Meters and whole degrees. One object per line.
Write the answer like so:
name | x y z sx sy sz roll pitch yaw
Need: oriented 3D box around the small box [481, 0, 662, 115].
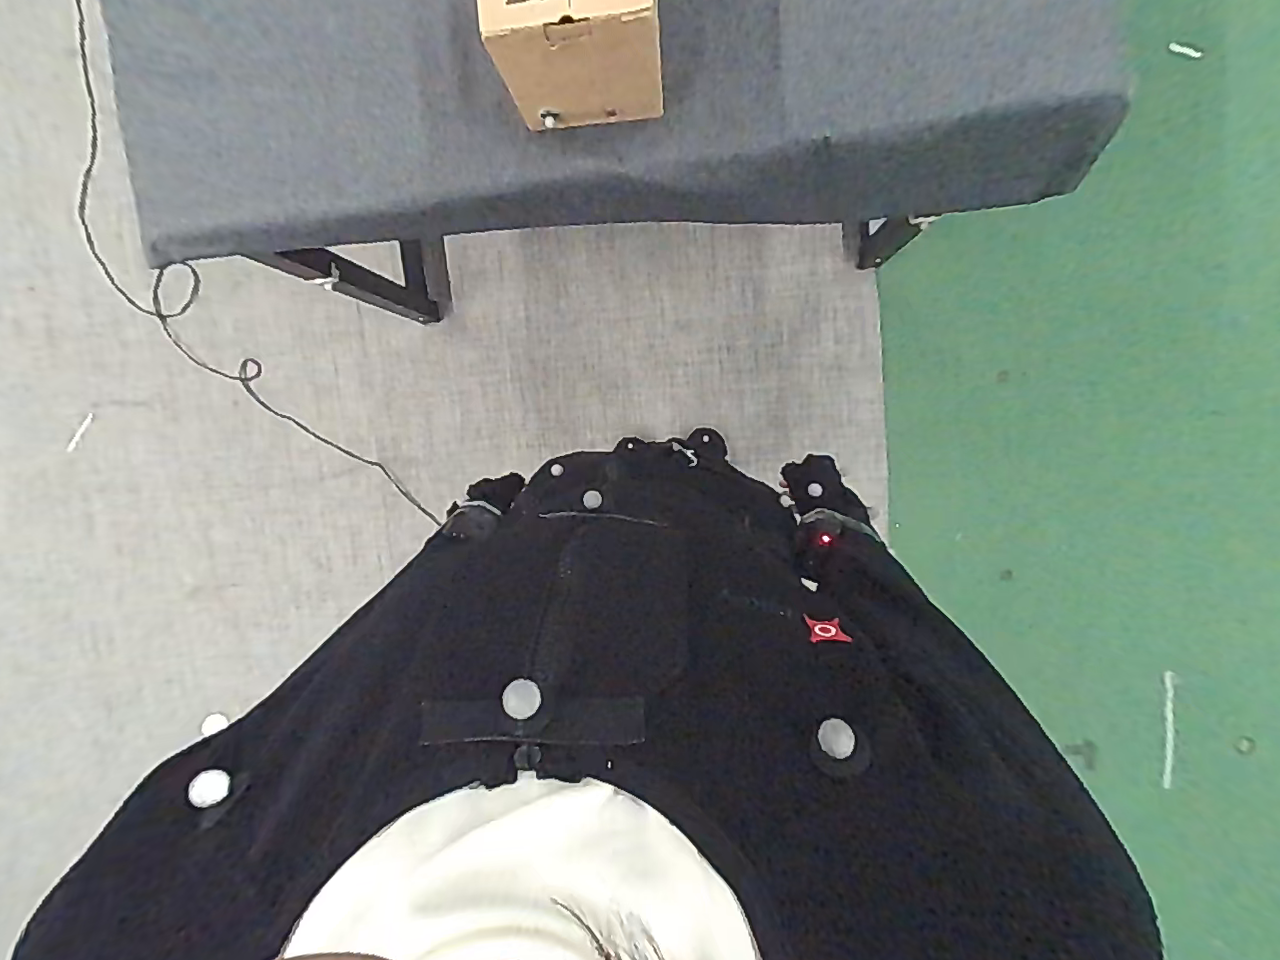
small box | -0.063 -0.519 0.574 0.168 0.176 0.179 -2 95 4
